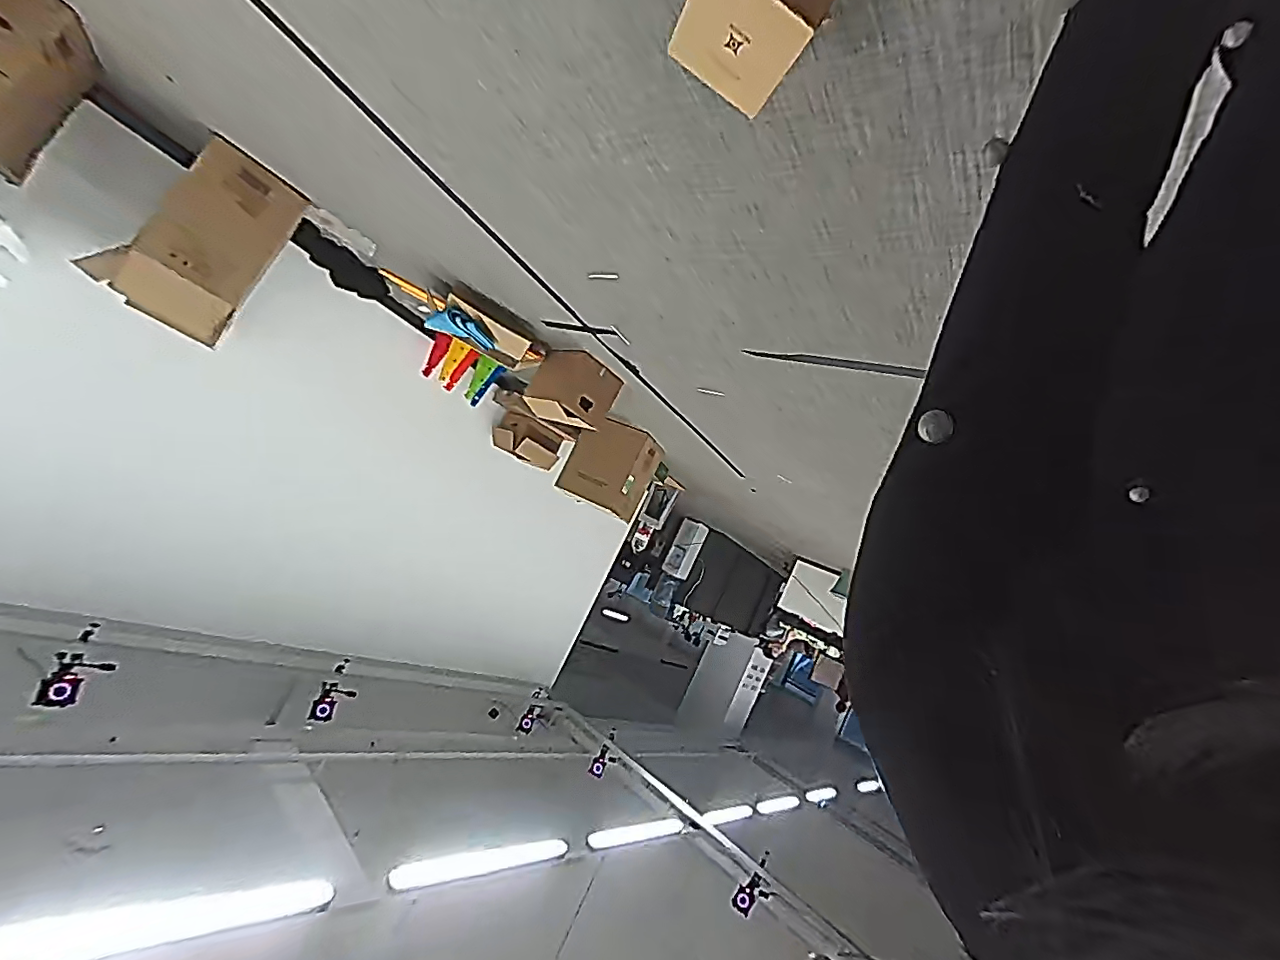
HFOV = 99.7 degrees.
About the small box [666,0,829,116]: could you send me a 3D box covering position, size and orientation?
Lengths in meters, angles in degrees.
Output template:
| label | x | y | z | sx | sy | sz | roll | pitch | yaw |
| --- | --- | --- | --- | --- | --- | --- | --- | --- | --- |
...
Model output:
| label | x | y | z | sx | sy | sz | roll | pitch | yaw |
| --- | --- | --- | --- | --- | --- | --- | --- | --- | --- |
| small box | 0.165 | -0.673 | 0.747 | 0.168 | 0.176 | 0.179 | 29 | 173 | -12 |
